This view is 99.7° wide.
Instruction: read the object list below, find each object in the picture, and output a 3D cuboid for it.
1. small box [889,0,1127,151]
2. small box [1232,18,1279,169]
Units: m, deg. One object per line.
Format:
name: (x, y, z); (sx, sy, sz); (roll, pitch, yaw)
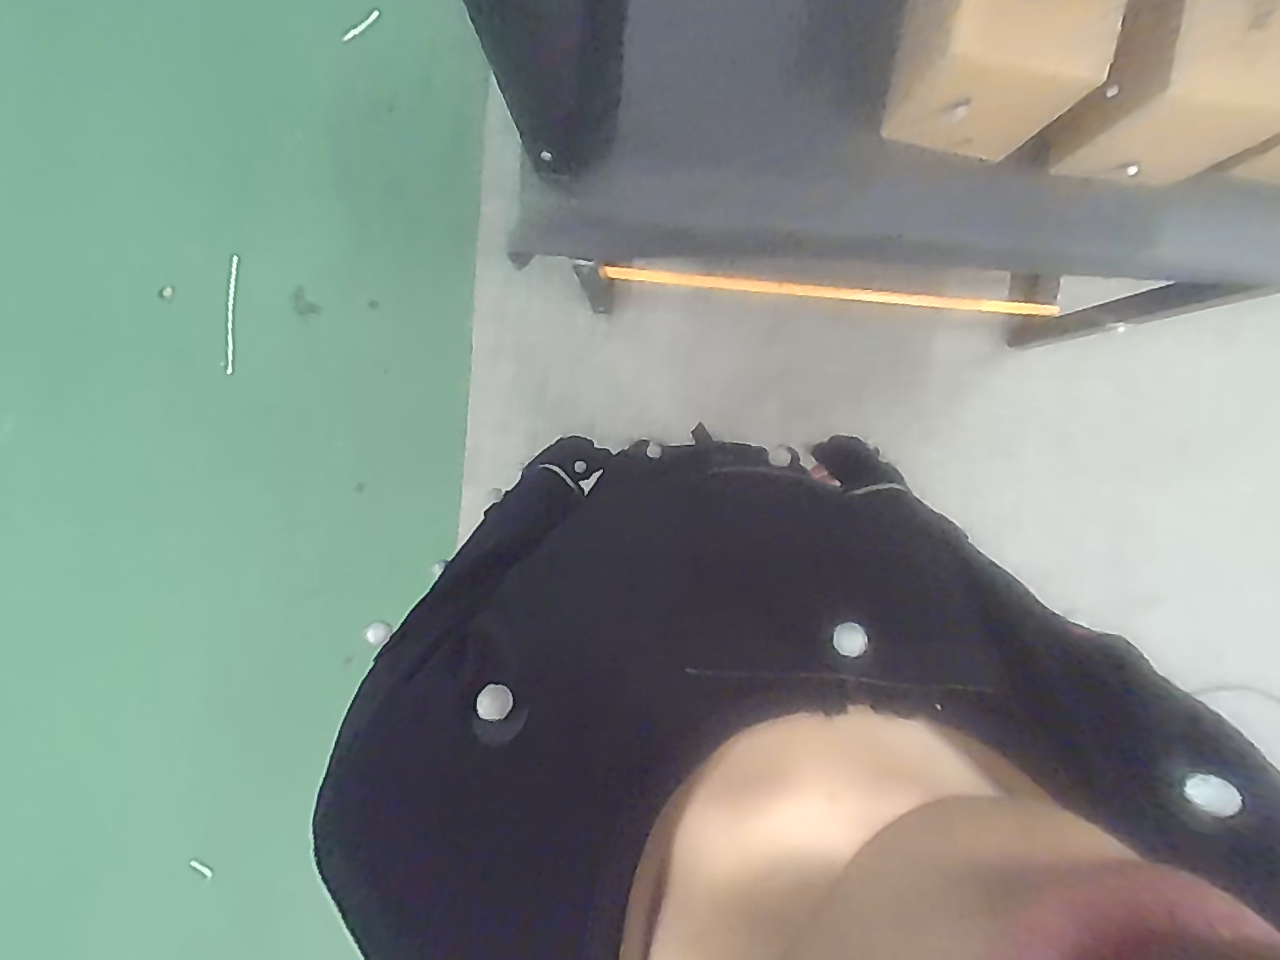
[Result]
small box: (0.412, -0.515, 0.620); (0.168, 0.176, 0.179); (12, 95, 0)
small box: (0.851, -0.471, 0.614); (0.168, 0.176, 0.179); (8, 95, 0)
